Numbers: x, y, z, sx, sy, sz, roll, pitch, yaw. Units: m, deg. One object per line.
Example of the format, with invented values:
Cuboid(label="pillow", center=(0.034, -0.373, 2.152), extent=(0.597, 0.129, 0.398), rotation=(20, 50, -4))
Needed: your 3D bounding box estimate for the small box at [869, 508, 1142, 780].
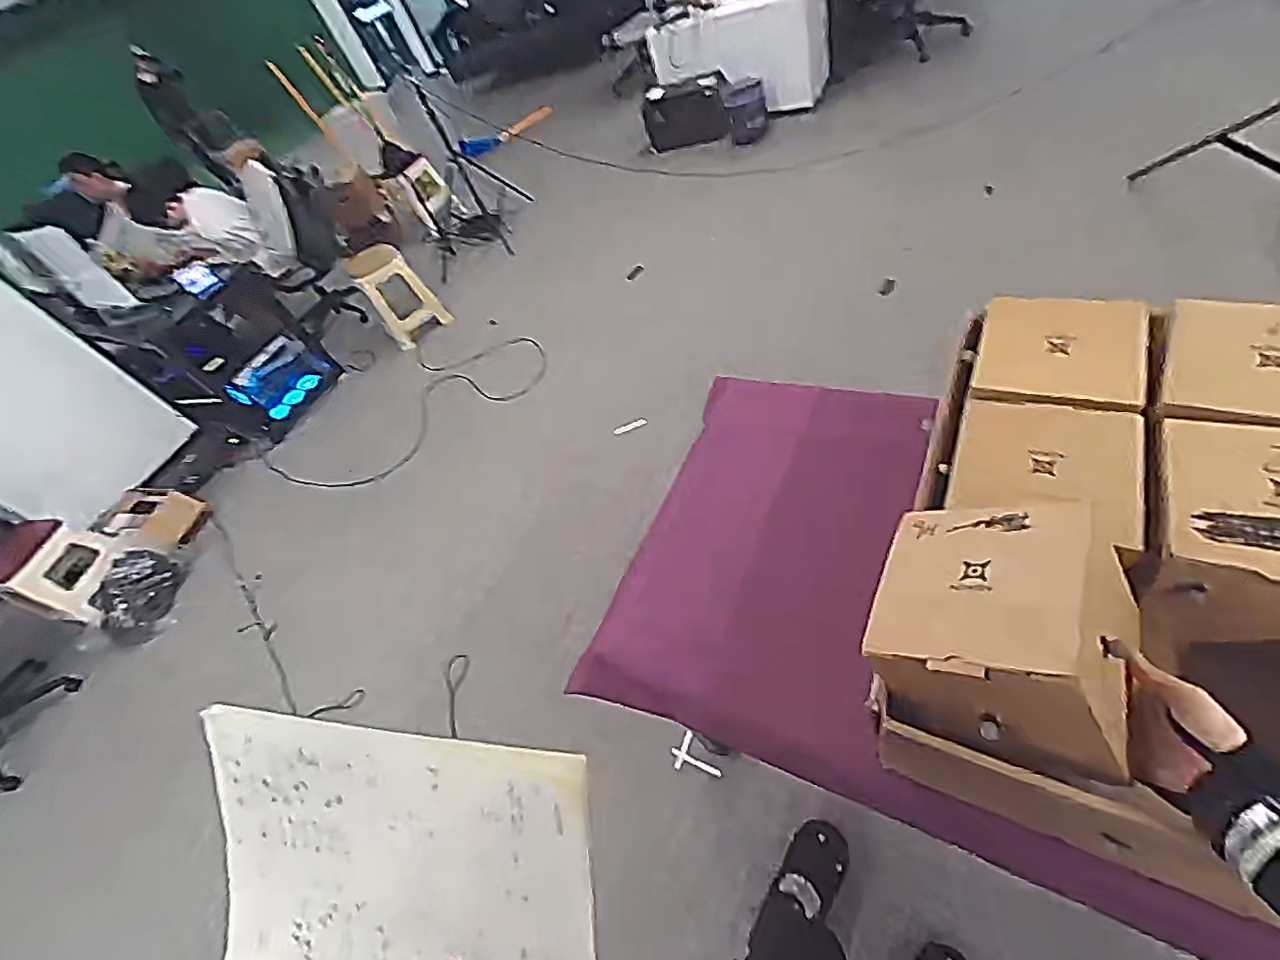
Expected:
Cuboid(label="small box", center=(0.350, 0.149, 0.513), extent=(0.168, 0.176, 0.179), rotation=(-9, 43, 50))
